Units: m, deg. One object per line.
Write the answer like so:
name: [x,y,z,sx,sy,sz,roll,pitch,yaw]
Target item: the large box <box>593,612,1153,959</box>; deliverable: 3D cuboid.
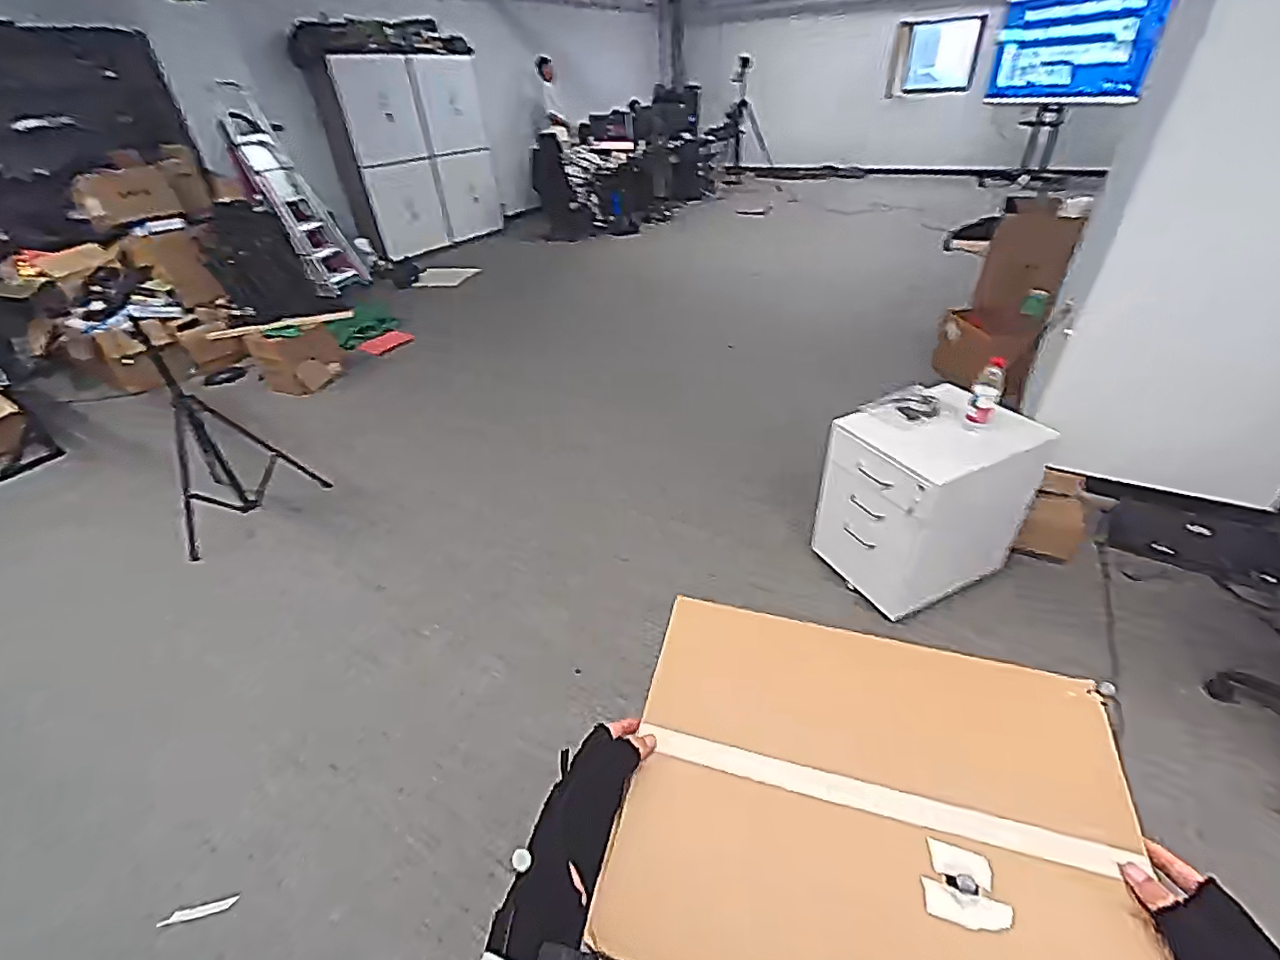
large box: [0.198,0.385,0.571,0.408,0.320,0.320,9,46,13]
